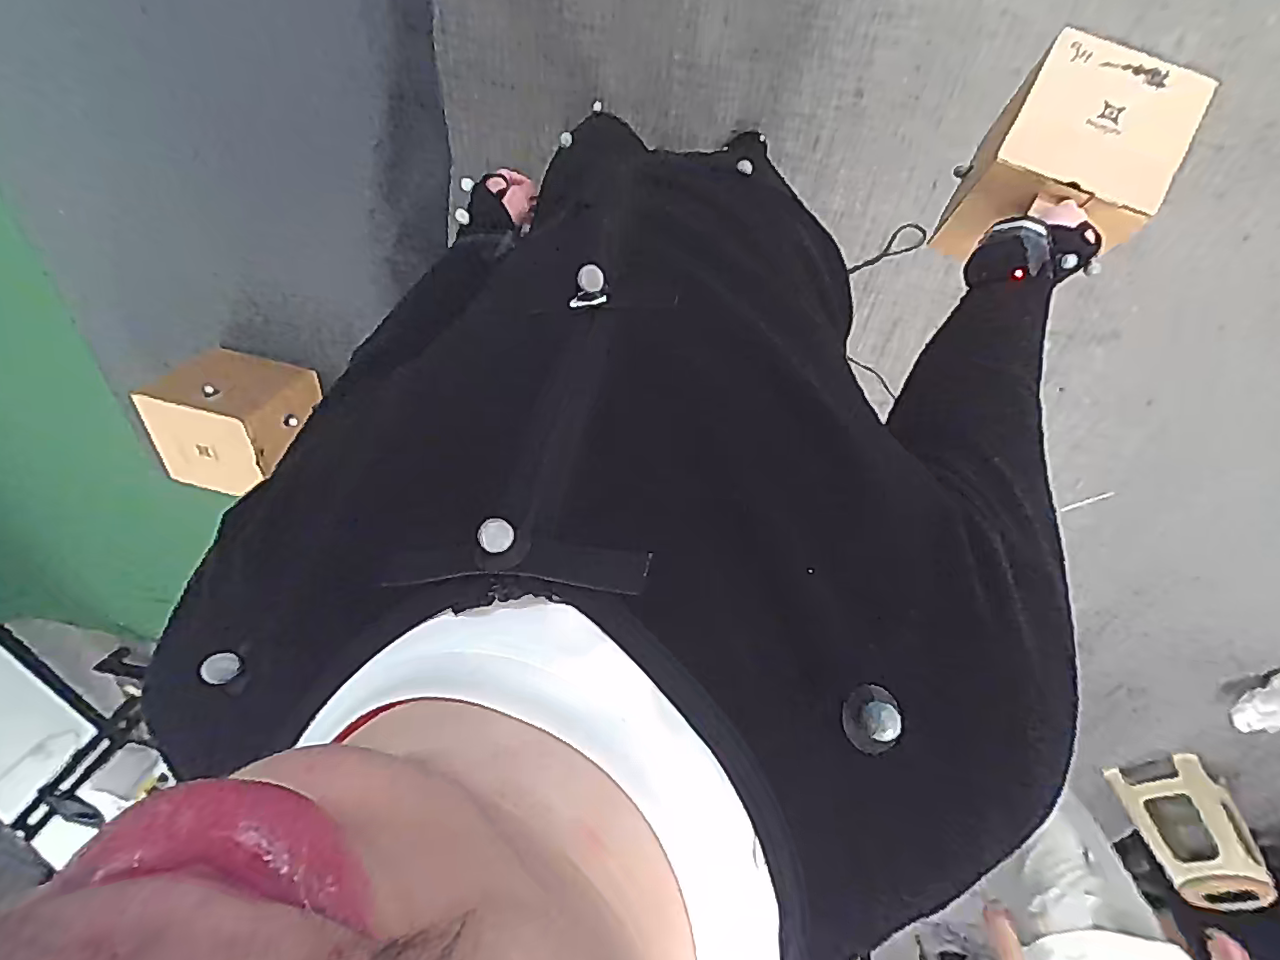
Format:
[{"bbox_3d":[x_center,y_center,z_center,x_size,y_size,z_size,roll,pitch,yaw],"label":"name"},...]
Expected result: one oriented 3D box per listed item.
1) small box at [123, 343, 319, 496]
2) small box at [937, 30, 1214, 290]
[{"bbox_3d":[-0.655,-0.104,0.878,0.179,0.176,0.168,14,128,1],"label":"small box"},{"bbox_3d":[0.491,-0.361,0.644,0.168,0.176,0.179,29,86,7],"label":"small box"}]
